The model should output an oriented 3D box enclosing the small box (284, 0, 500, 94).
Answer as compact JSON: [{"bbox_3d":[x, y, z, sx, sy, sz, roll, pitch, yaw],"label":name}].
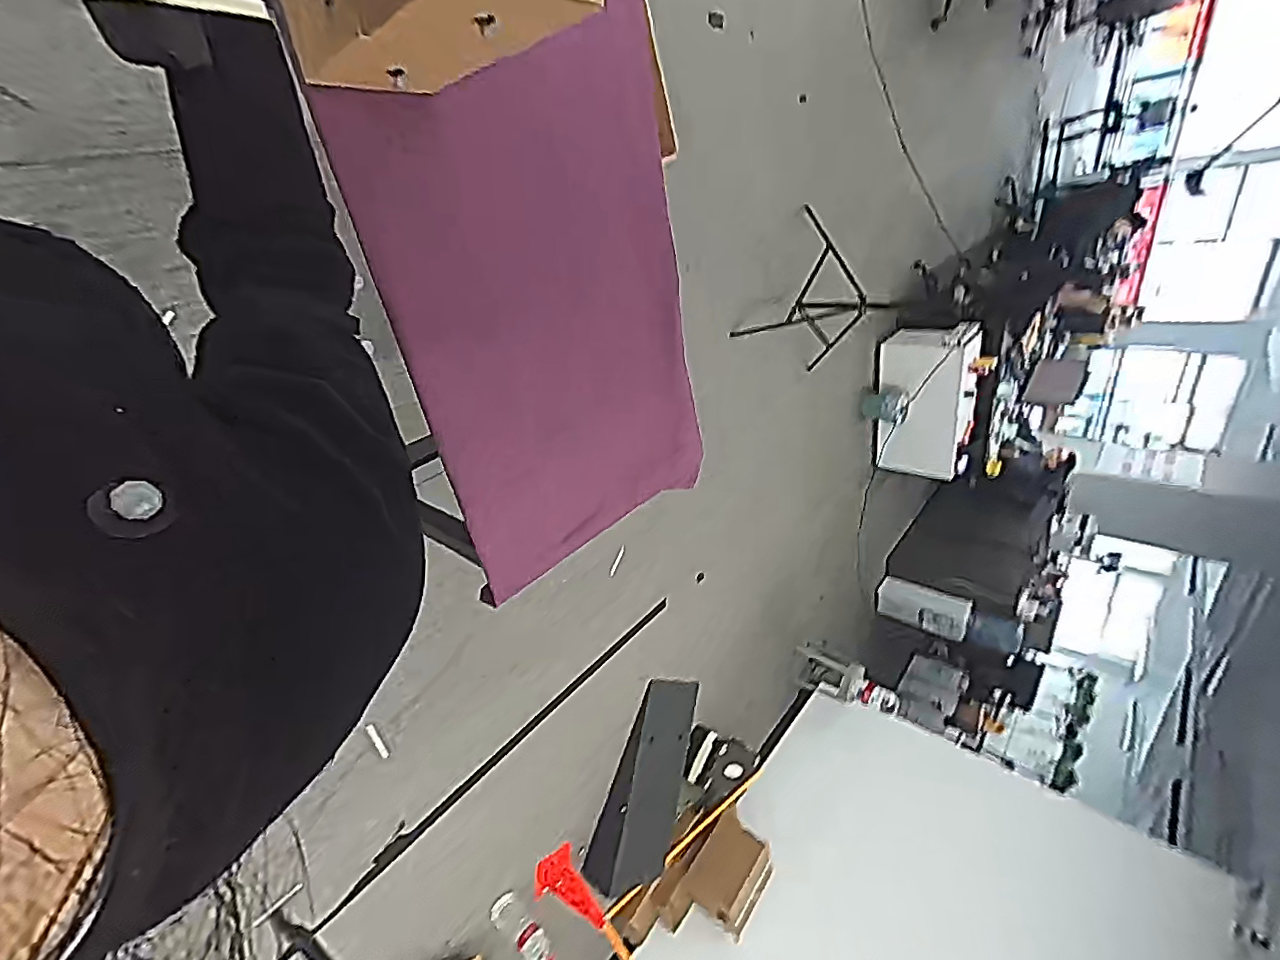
[{"bbox_3d":[-0.285,-0.555,0.601,0.168,0.176,0.179,-29,123,-40],"label":"small box"}]

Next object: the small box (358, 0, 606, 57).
[{"bbox_3d":[-0.158,-0.520,0.502,0.179,0.176,0.168,-29,123,-38],"label":"small box"}]
